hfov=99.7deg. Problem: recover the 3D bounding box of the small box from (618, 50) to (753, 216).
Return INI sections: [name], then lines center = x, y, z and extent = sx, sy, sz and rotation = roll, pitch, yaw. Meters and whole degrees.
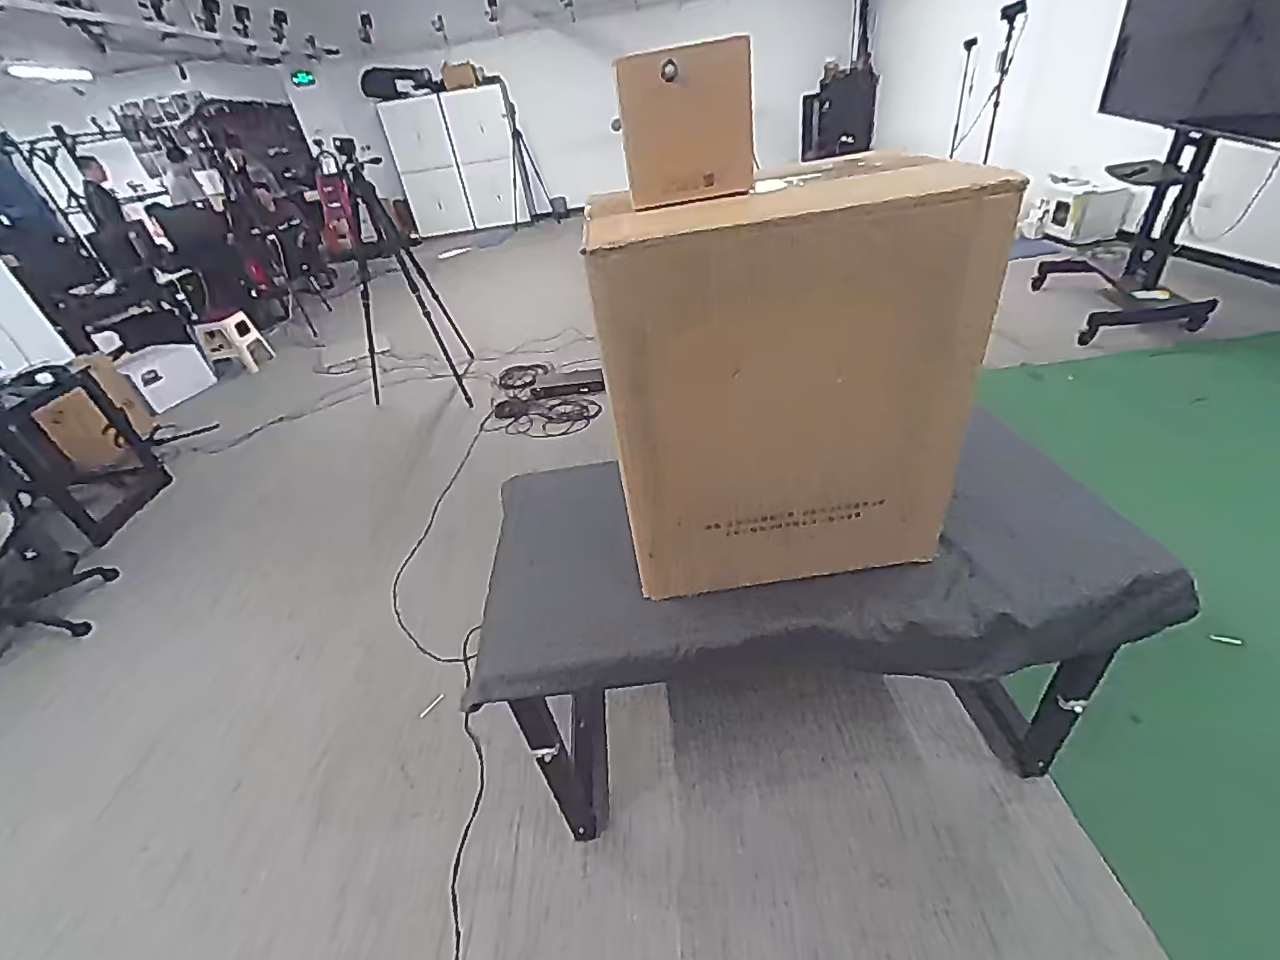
[small box]
center = 0.061, -0.482, 0.768
extent = 0.168, 0.176, 0.179
rotation = -9, 33, 3
